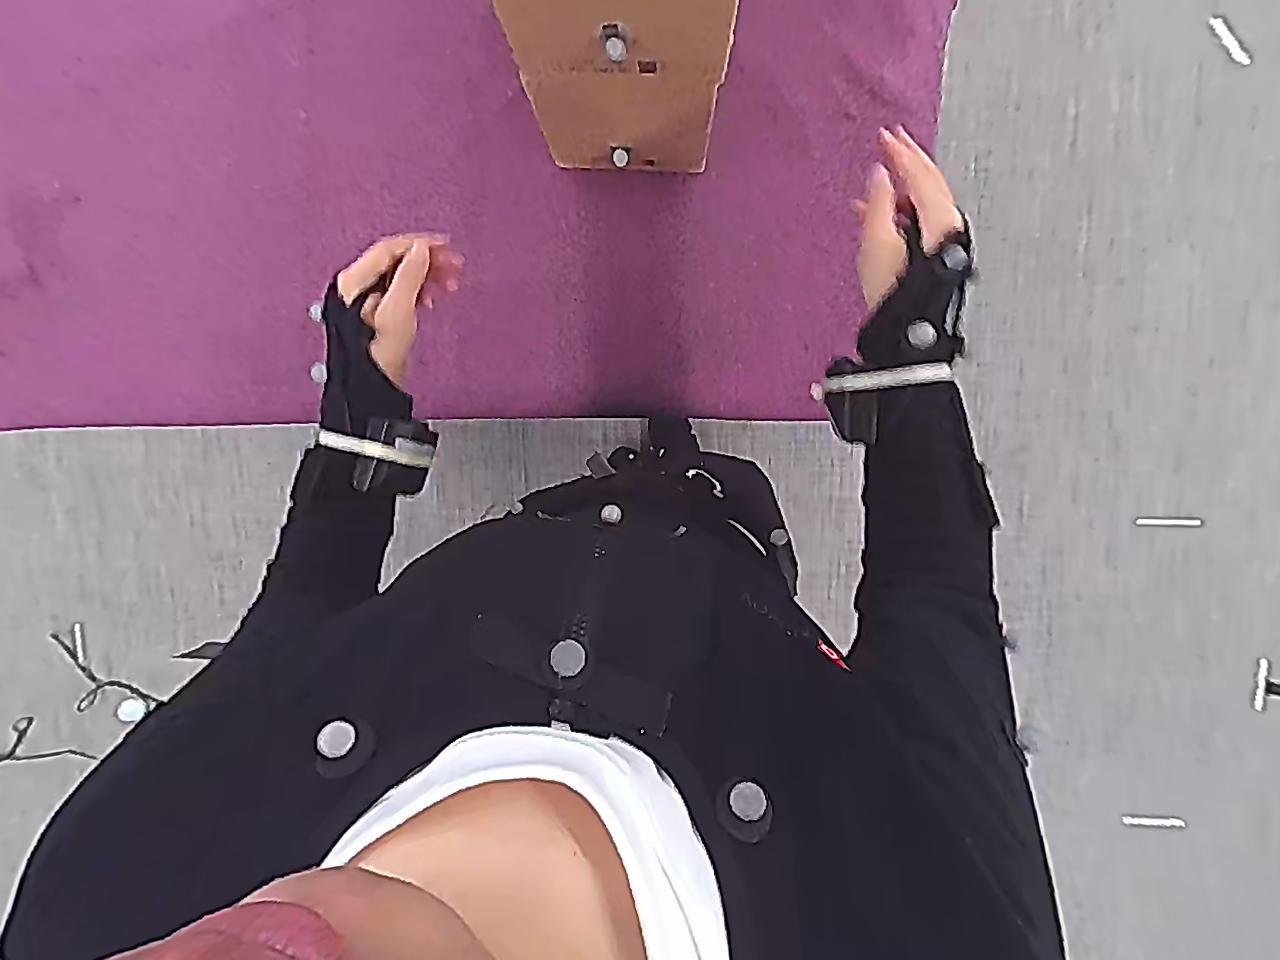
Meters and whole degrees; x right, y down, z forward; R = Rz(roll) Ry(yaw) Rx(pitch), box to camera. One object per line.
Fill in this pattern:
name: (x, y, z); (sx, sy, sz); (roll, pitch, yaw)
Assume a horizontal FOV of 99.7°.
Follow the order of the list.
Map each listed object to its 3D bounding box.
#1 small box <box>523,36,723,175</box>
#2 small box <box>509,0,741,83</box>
small box: (-0.006, -0.421, 0.510); (0.168, 0.176, 0.179); (4, 97, 2)
small box: (-0.010, -0.402, 0.346); (0.168, 0.176, 0.179); (4, 97, 3)
